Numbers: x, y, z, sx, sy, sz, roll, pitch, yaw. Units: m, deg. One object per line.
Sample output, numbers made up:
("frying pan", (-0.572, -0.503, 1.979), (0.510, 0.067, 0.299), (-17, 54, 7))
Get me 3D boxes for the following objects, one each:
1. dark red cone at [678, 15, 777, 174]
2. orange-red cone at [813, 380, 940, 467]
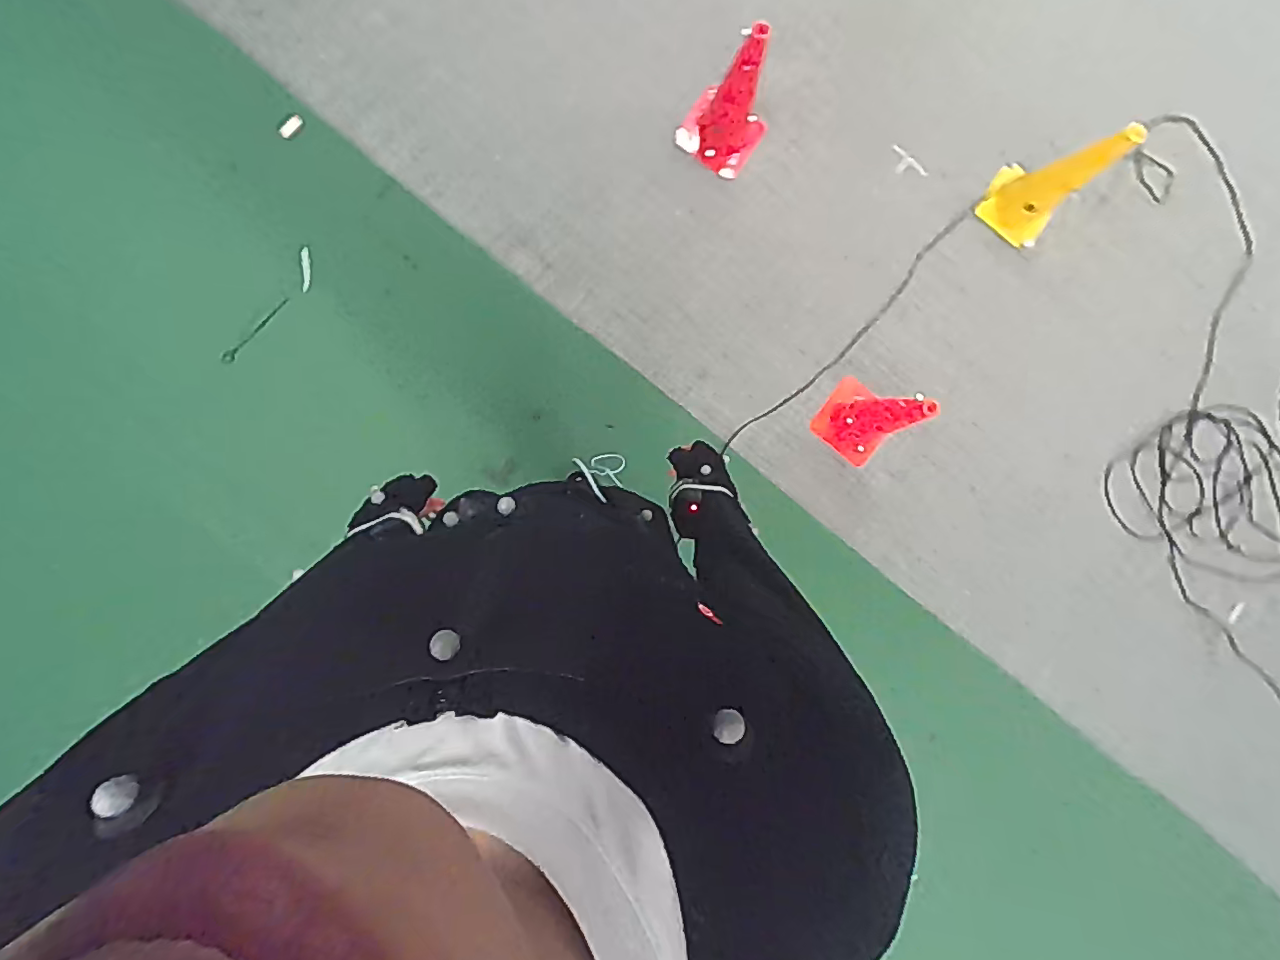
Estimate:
("dark red cone", (0.246, -0.962, 1.320), (0.202, 0.394, 0.201), (33, 88, -5))
("orange-red cone", (0.638, -0.163, 1.389), (0.198, 0.360, 0.199), (39, 86, -6))
